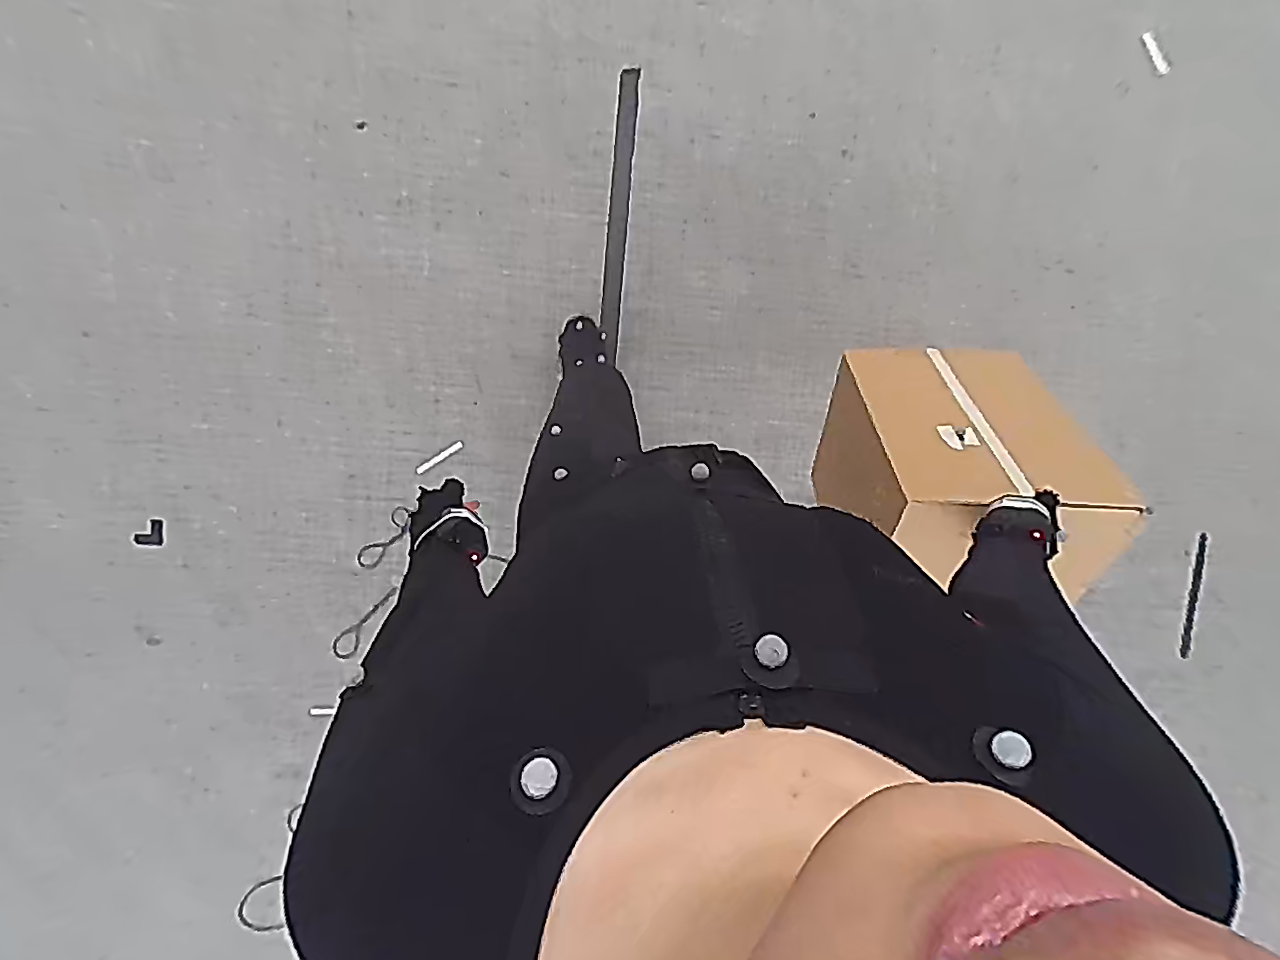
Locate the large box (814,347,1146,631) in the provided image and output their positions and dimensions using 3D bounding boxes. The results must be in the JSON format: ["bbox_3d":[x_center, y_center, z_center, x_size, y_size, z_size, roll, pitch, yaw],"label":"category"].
[{"bbox_3d":[0.526,0.006,0.961,0.320,0.408,0.320,2,135,4],"label":"large box"}]
